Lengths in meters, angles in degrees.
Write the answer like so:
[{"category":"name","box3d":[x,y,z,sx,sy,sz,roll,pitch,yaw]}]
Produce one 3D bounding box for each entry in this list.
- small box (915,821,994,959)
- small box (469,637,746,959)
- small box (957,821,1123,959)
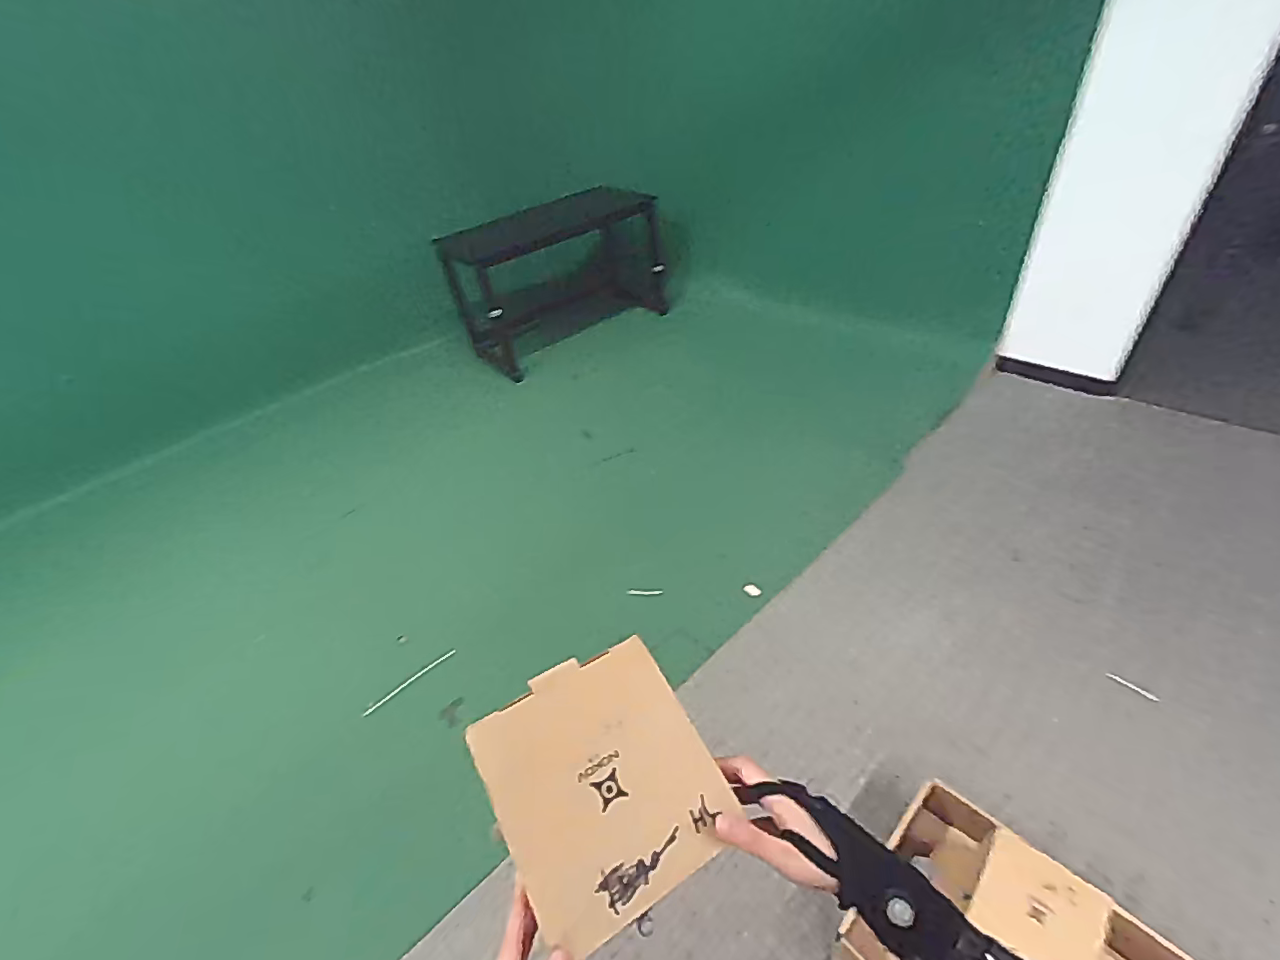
[{"category":"small box","box3d":[0.670,0.826,1.063,0.179,0.176,0.168,28,56,35]},{"category":"small box","box3d":[-0.036,0.282,0.493,0.168,0.176,0.179,-25,60,-21]},{"category":"small box","box3d":[0.666,0.736,0.918,0.168,0.176,0.179,27,55,33]}]
